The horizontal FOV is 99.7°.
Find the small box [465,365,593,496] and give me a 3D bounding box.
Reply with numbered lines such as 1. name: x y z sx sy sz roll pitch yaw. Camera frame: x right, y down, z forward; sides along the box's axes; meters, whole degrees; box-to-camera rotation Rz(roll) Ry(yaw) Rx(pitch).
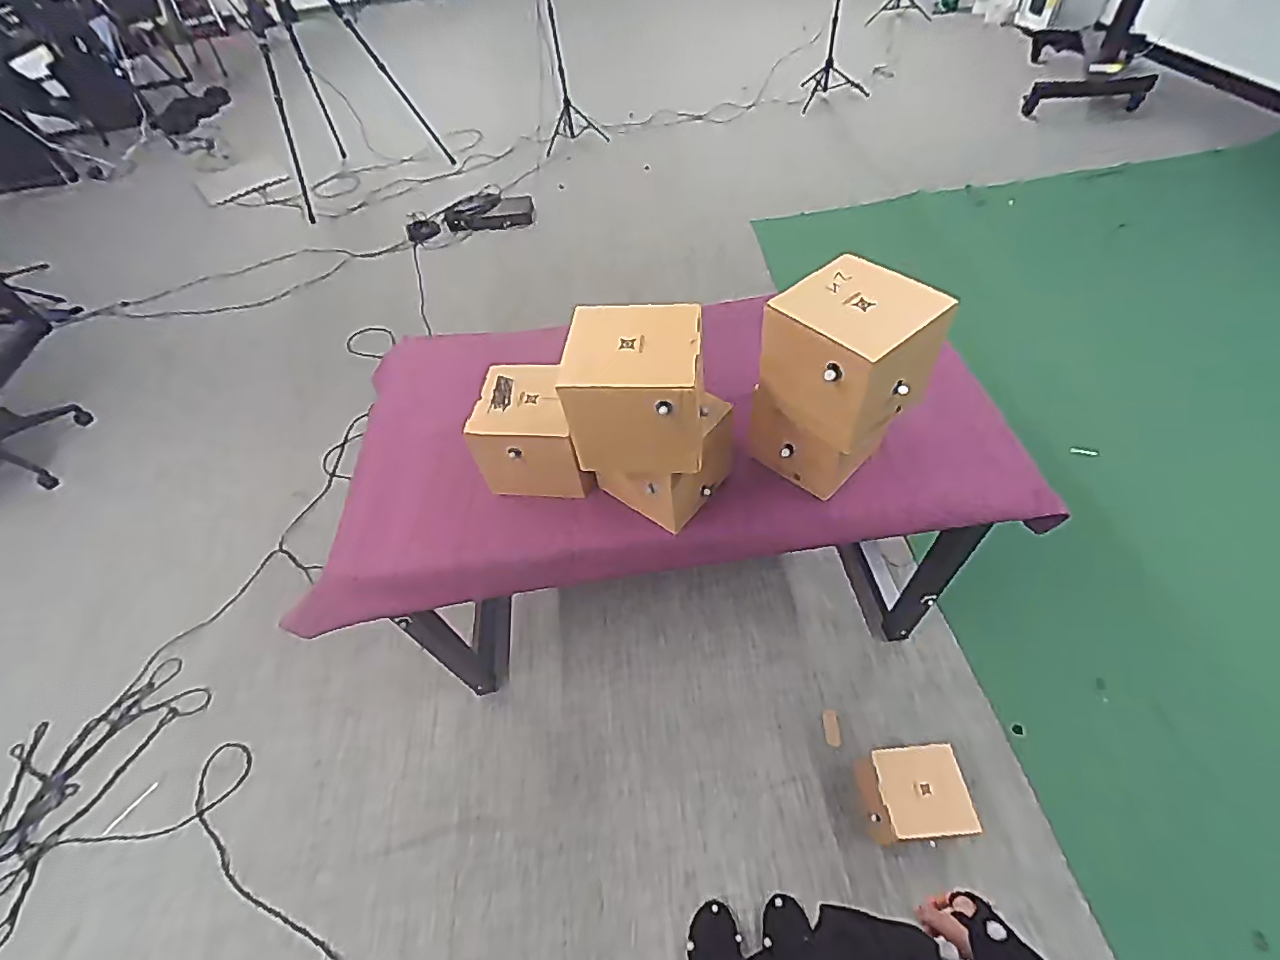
1. small box: -0.178 -0.084 0.957 0.179 0.176 0.168 3 53 8

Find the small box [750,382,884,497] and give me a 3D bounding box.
1. small box: 0.303 -0.103 0.913 0.179 0.176 0.168 -41 58 -22

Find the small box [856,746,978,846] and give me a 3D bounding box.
1. small box: 0.591 0.696 1.188 0.179 0.176 0.168 -5 53 2

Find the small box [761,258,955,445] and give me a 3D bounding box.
1. small box: 0.290 -0.174 0.759 0.168 0.176 0.179 -34 54 -19

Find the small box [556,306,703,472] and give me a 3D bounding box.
1. small box: -0.002 -0.124 0.759 0.179 0.176 0.168 2 53 7
